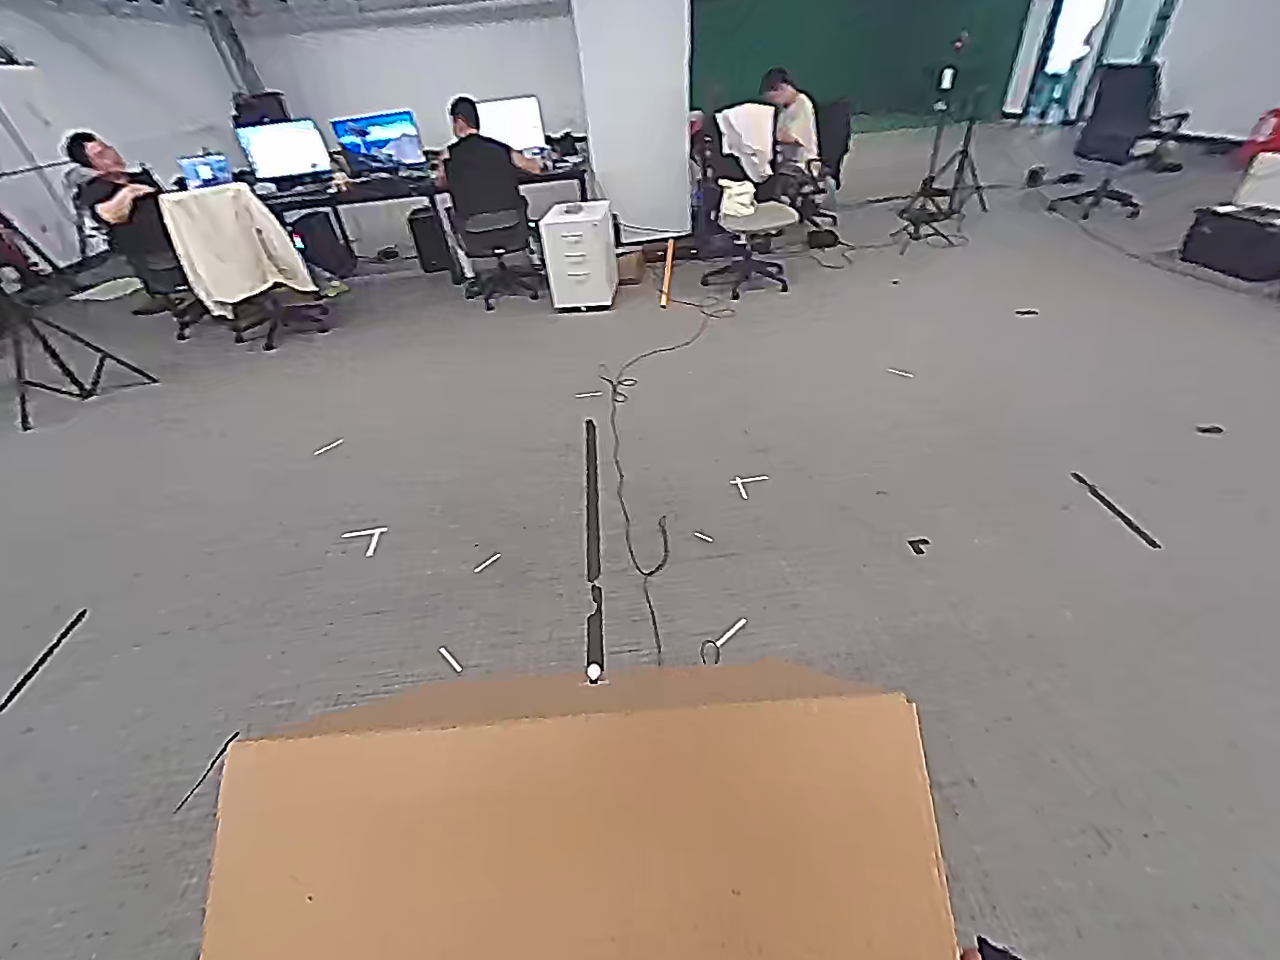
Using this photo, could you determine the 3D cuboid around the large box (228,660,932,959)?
[{"bbox_3d":[-0.028,0.338,0.441,0.408,0.320,0.320,-5,75,0],"label":"large box"}]
